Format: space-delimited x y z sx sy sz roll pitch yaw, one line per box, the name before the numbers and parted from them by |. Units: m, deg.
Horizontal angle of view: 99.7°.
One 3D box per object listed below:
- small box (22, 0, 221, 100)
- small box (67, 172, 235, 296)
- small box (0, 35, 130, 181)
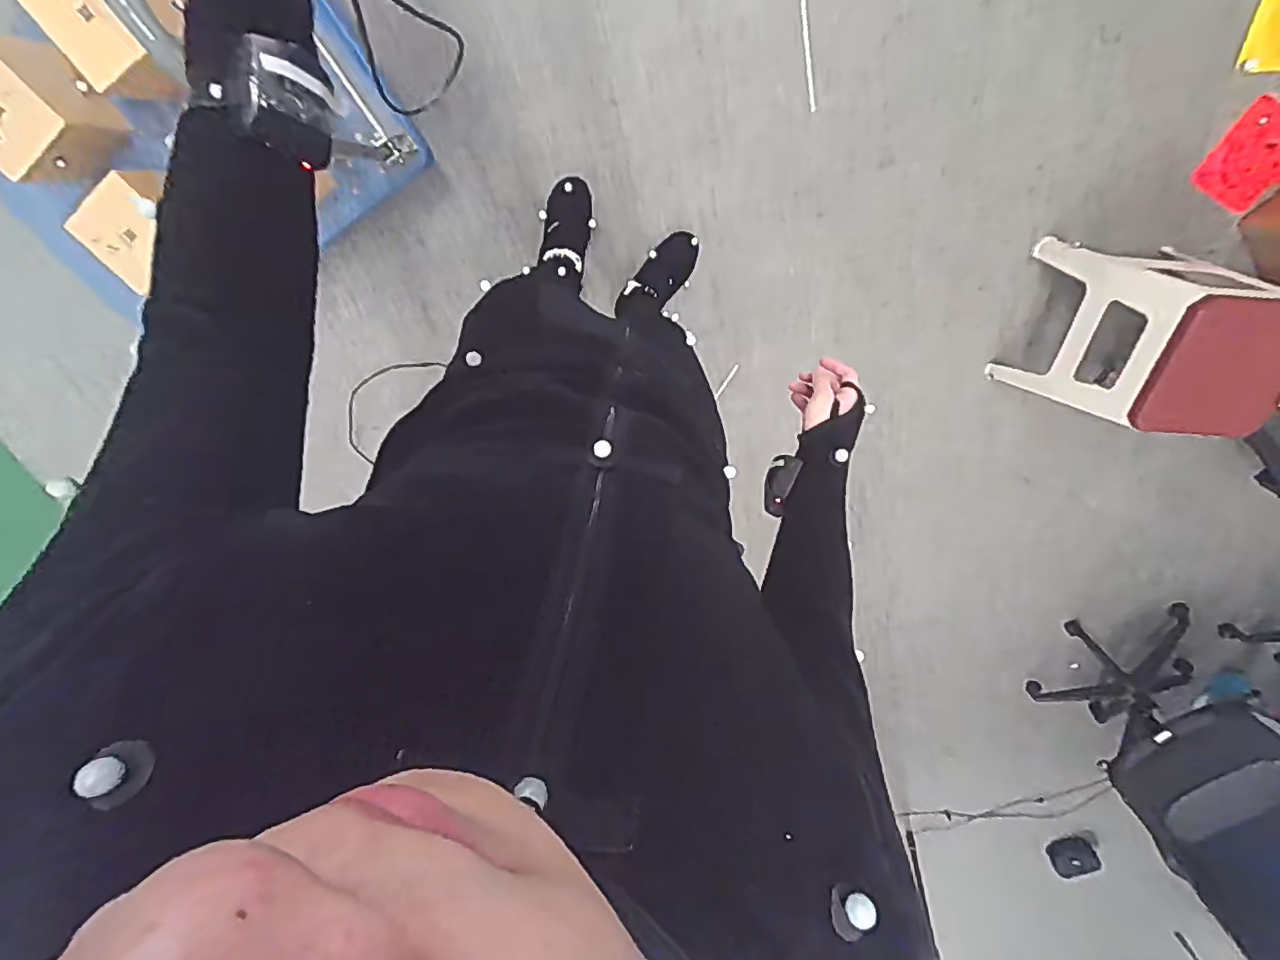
small box | -0.920 -0.823 0.973 0.179 0.176 0.168 -27 117 13
small box | -1.010 -0.521 1.140 0.179 0.176 0.168 -31 115 15
small box | -1.152 -0.700 1.035 0.179 0.176 0.168 -31 116 14
